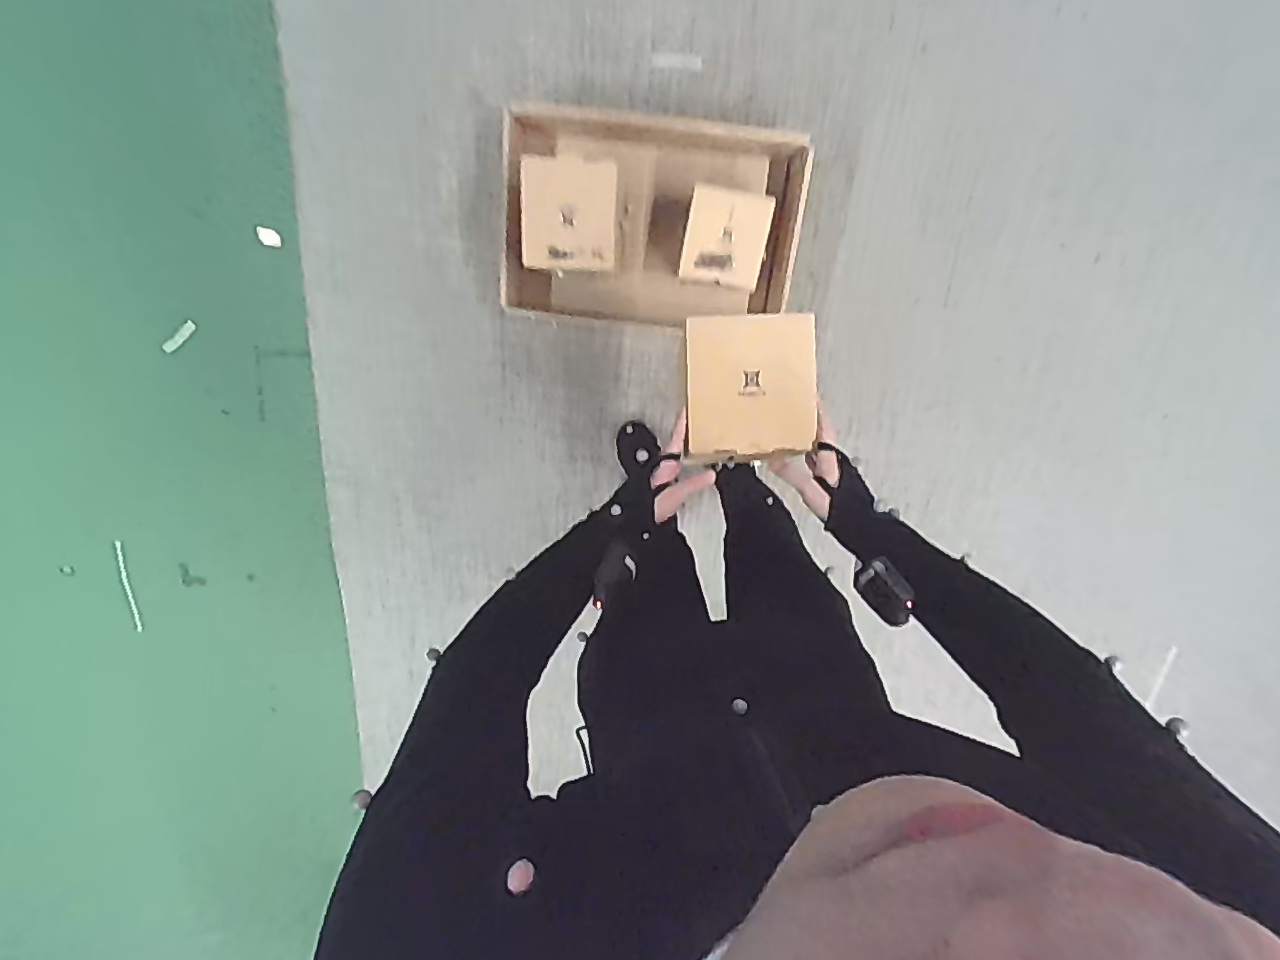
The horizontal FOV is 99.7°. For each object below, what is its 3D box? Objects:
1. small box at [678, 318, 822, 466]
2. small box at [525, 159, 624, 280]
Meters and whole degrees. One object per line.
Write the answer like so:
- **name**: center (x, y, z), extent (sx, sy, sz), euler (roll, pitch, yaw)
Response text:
- **small box**: center (0.142, -0.113, 0.753), extent (0.168, 0.176, 0.179), euler (-2, 89, 0)
- **small box**: center (-0.118, -0.479, 1.017), extent (0.168, 0.176, 0.179), euler (4, 108, -1)
